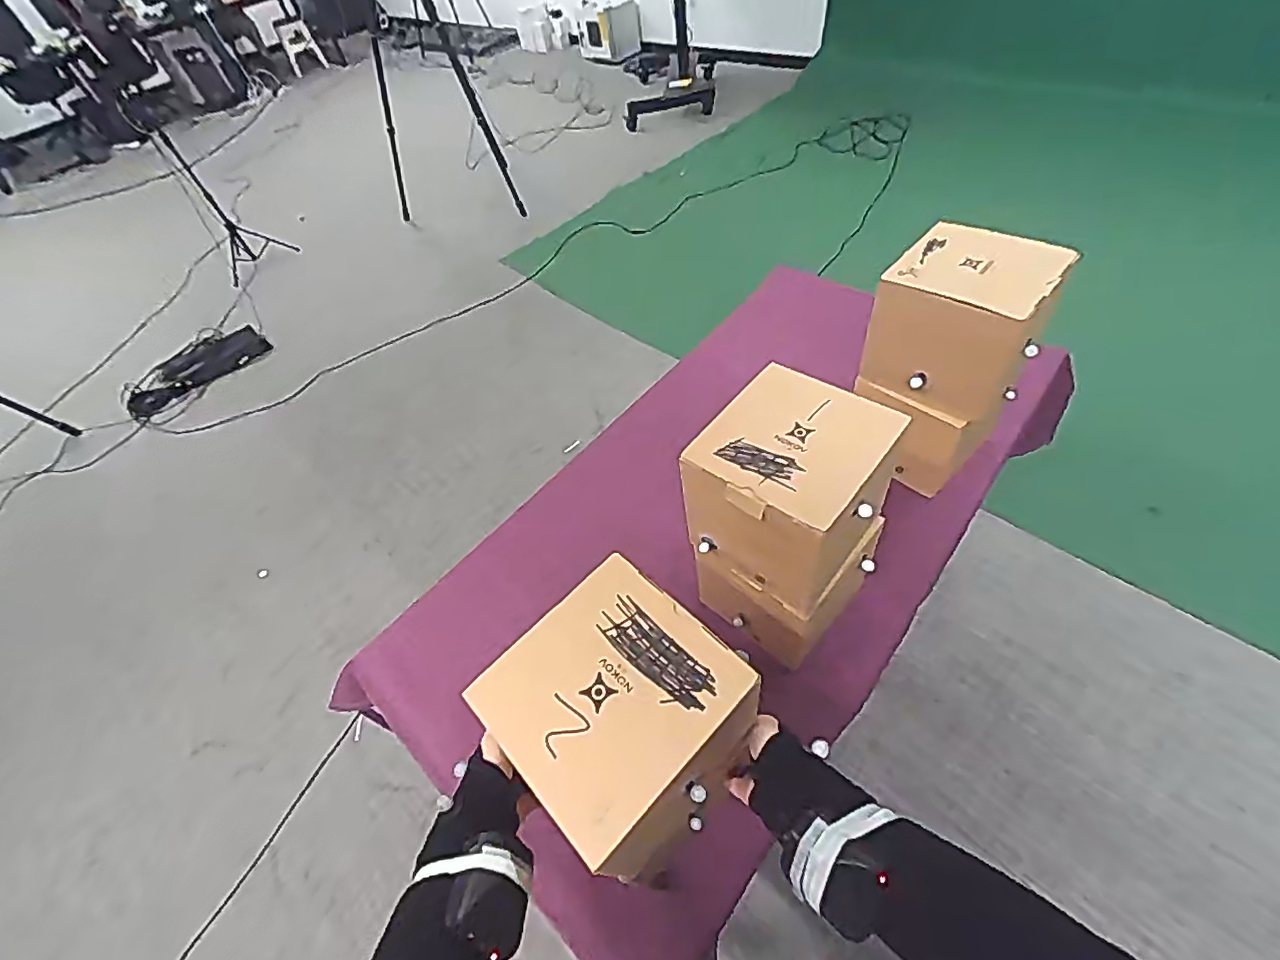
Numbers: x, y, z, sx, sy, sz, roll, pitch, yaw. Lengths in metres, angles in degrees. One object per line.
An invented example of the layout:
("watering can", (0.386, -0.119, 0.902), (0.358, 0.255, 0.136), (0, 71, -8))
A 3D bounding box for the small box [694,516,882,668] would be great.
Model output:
("small box", (0.192, 0.117, 0.732), (0.168, 0.176, 0.179), (34, 64, 32))

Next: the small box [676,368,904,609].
("small box", (0.163, 0.011, 0.608), (0.168, 0.176, 0.179), (31, 62, 30))

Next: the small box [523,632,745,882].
("small box", (0.003, 0.316, 0.611), (0.179, 0.176, 0.168), (-38, 56, -20))

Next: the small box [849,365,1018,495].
("small box", (0.449, -0.108, 0.863), (0.179, 0.176, 0.168), (-39, 55, -20))

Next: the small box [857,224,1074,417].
("small box", (0.427, -0.212, 0.737), (0.179, 0.176, 0.168), (34, 64, 31))
